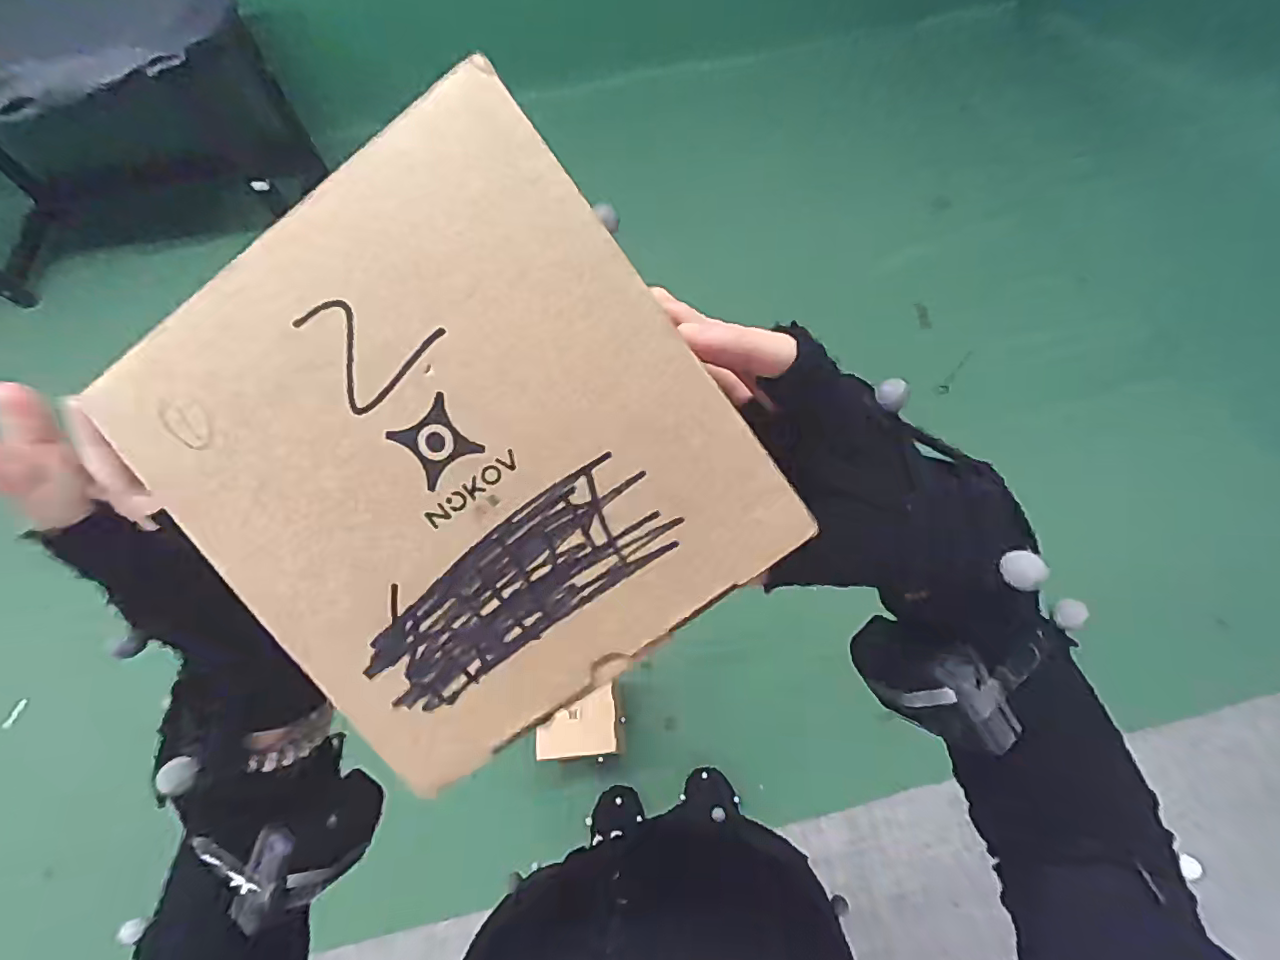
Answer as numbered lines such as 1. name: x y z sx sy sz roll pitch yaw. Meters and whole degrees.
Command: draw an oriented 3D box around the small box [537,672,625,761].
1. small box: -0.134 0.553 1.255 0.179 0.176 0.168 -7 62 1
